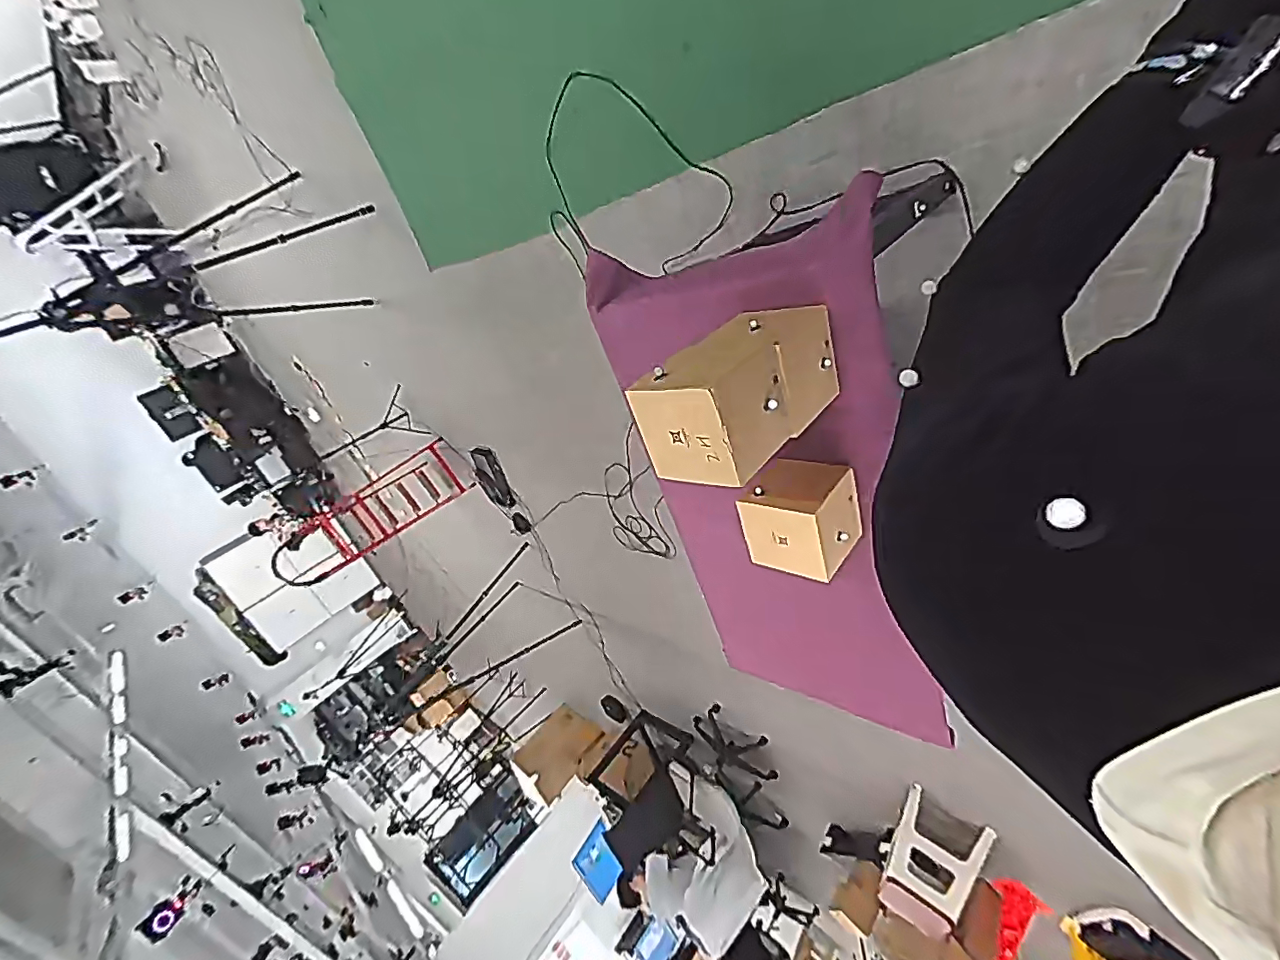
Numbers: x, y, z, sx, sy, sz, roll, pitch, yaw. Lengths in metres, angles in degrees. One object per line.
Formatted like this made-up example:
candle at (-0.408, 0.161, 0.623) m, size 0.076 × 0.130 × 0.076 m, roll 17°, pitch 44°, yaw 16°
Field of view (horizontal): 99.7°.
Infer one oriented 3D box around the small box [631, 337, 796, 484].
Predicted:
small box at (0.121, -0.115, 0.863) m, size 0.179 × 0.176 × 0.168 m, roll 8°, pitch 130°, yaw 45°

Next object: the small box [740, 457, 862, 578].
small box at (0.335, 0.068, 1.099) m, size 0.179 × 0.176 × 0.168 m, roll 11°, pitch 130°, yaw 45°
